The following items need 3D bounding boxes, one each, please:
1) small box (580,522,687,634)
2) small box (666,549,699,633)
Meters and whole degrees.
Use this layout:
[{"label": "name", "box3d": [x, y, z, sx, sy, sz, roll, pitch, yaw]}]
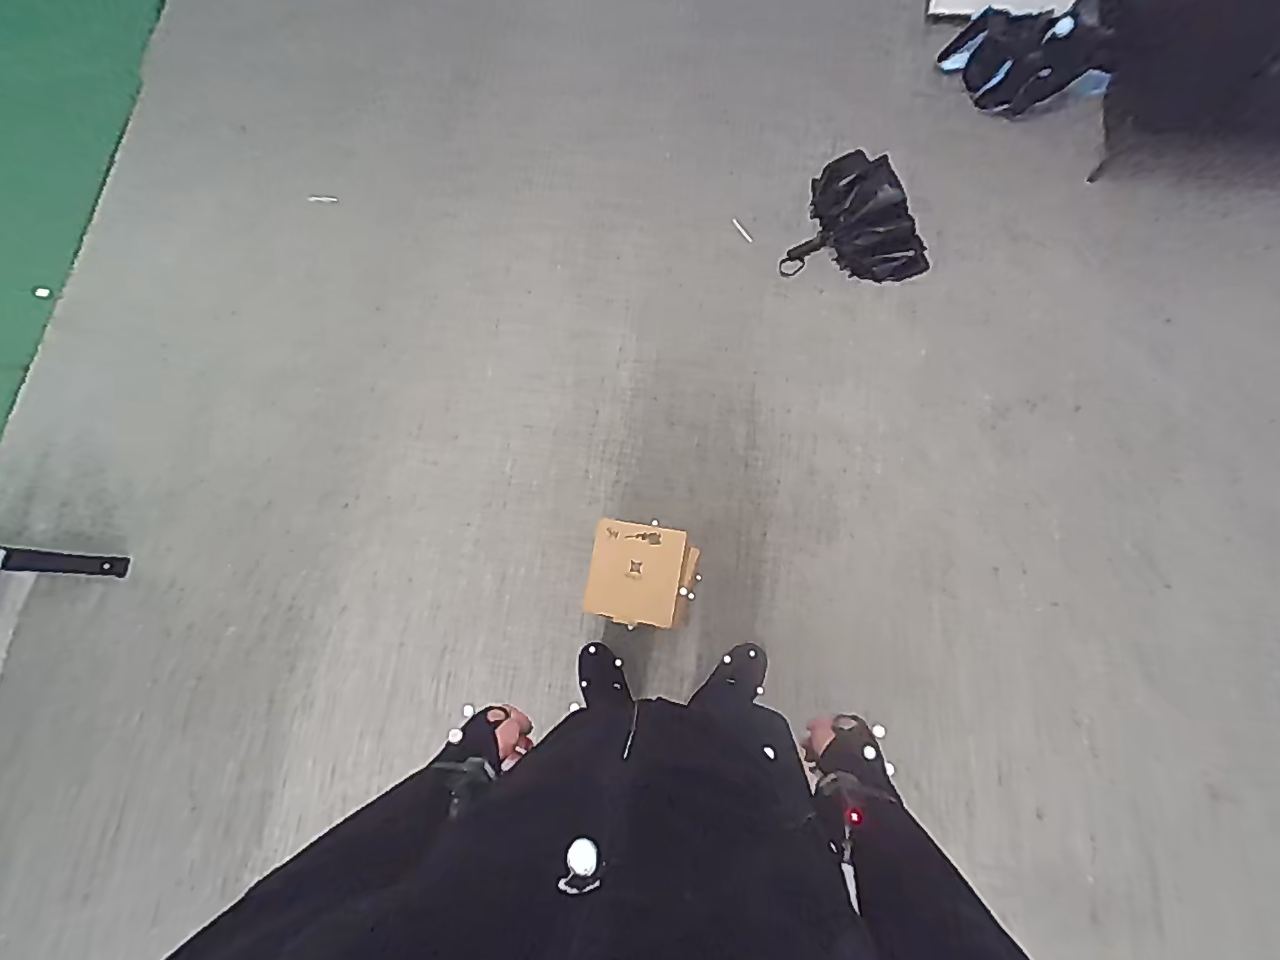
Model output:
[{"label": "small box", "box3d": [-0.003, 0.192, 1.055, 0.168, 0.176, 0.179, 10, 78, 9]}, {"label": "small box", "box3d": [0.025, 0.227, 1.211, 0.168, 0.176, 0.179, 19, 80, 11]}]
